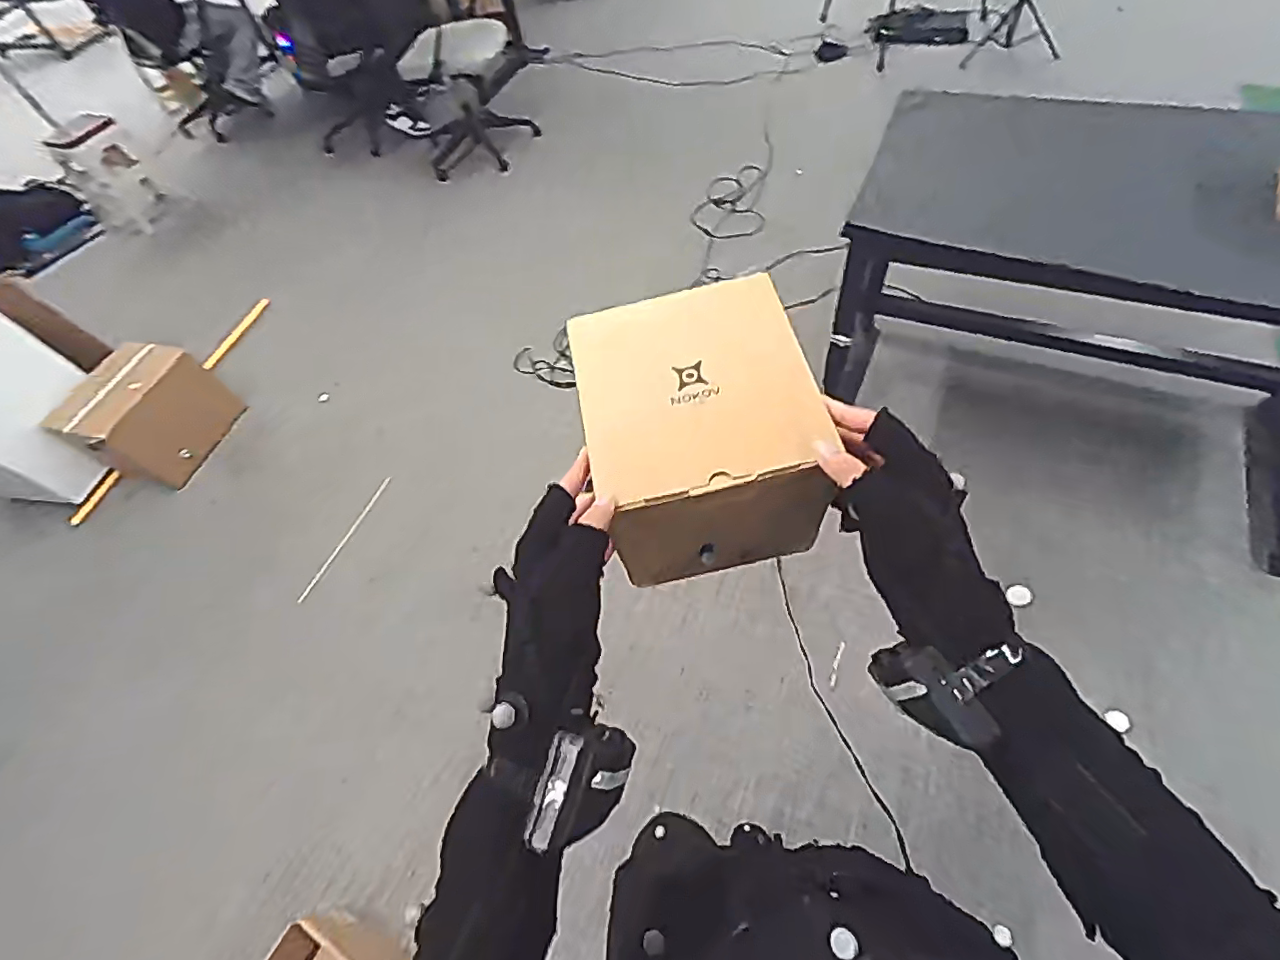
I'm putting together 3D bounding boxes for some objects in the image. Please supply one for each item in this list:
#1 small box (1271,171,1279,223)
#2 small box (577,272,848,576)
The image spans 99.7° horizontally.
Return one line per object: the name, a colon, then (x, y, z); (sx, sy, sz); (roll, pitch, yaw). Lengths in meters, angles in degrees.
small box: (1.207, -0.524, 0.886); (0.168, 0.176, 0.179); (24, 64, 23)
small box: (0.052, -0.038, 0.462); (0.168, 0.176, 0.179); (-13, 62, 2)
